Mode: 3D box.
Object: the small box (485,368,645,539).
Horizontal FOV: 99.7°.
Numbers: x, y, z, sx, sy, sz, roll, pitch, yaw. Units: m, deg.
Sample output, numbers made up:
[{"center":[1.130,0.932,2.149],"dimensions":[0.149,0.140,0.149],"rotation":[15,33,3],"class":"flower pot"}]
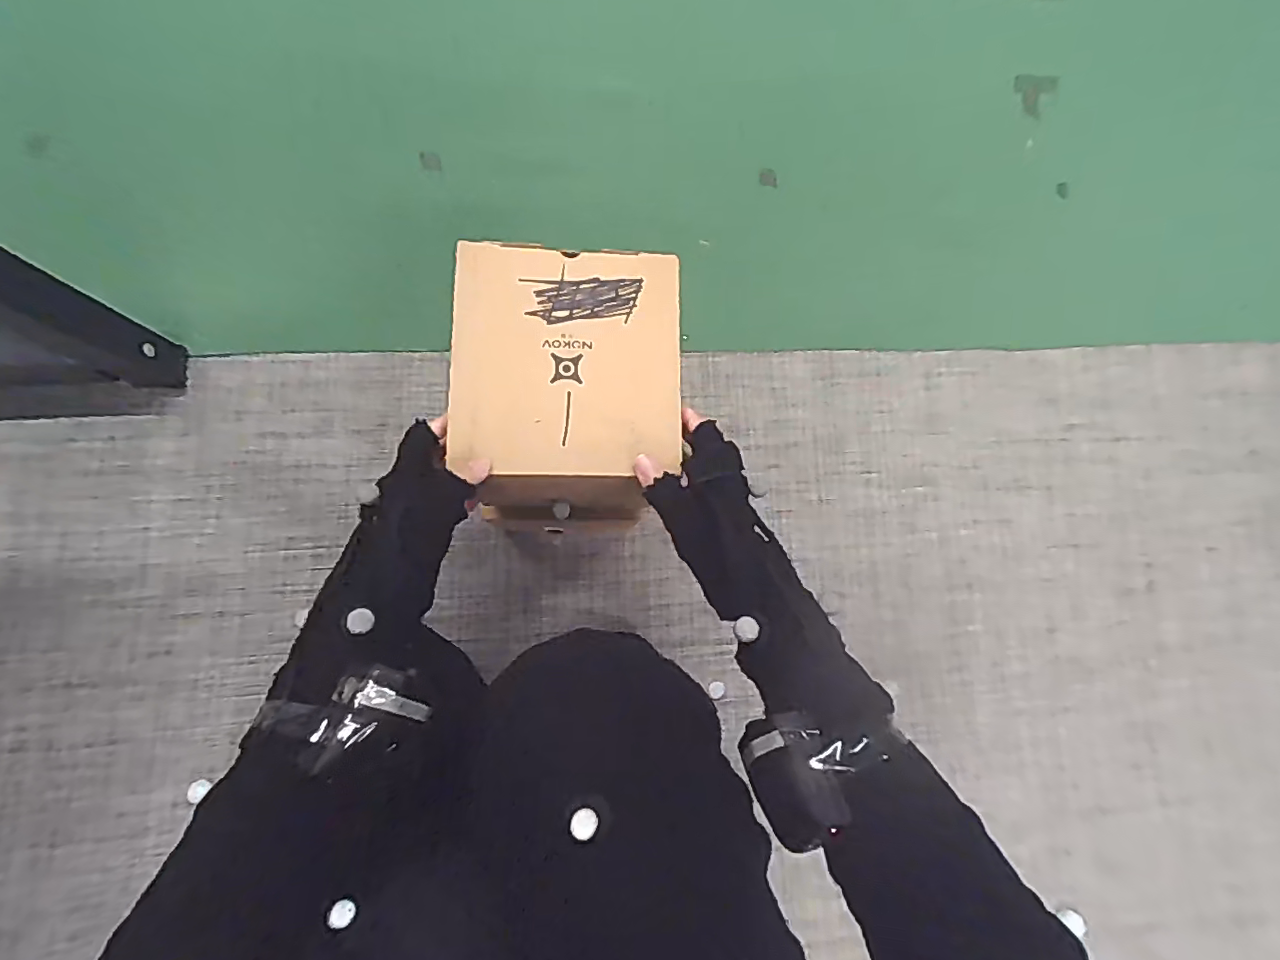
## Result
[{"center":[-0.084,-0.021,0.649],"dimensions":[0.168,0.176,0.179],"rotation":[0,82,-4],"class":"small box"}]
